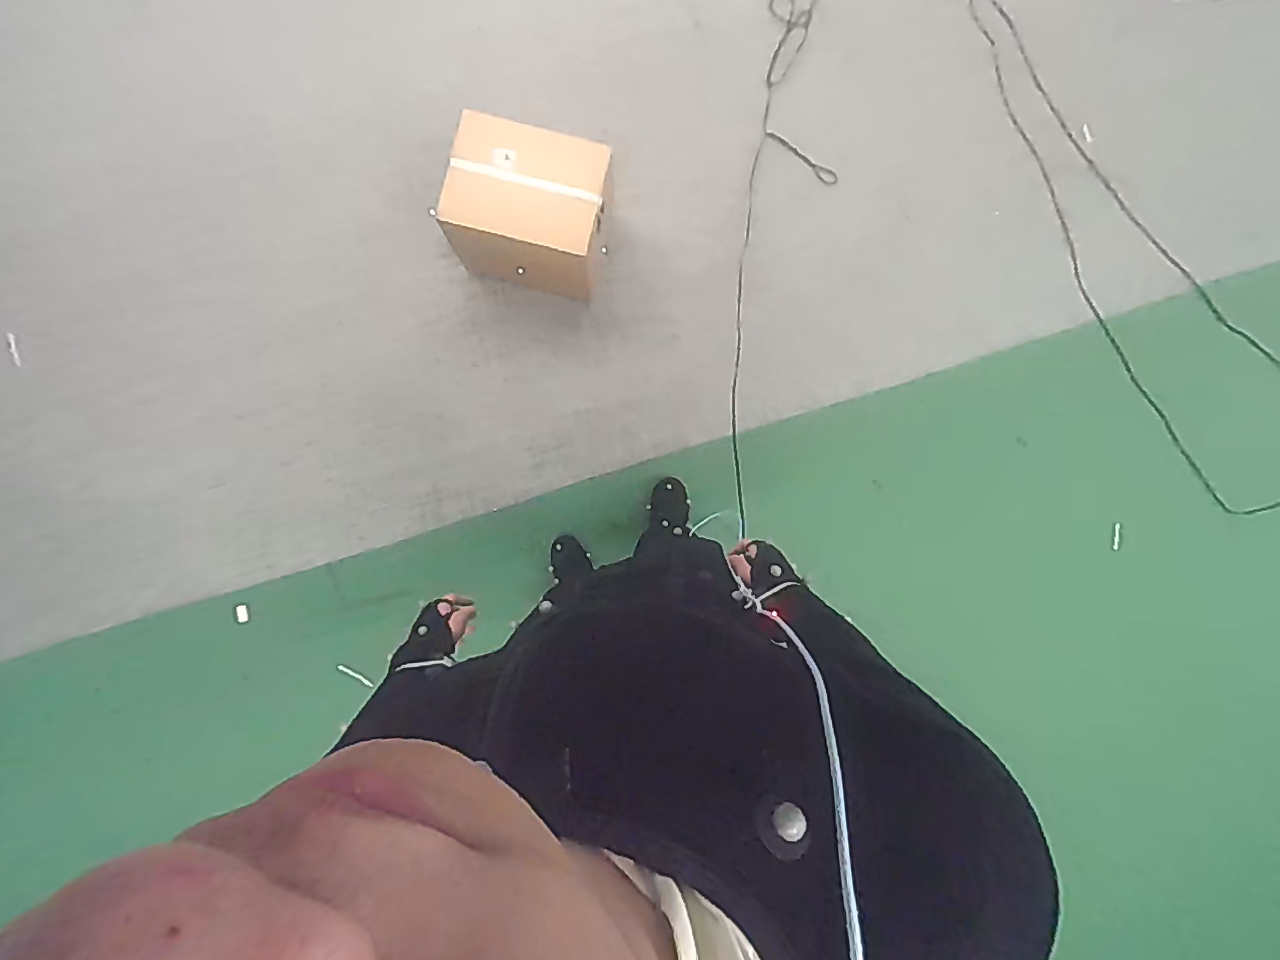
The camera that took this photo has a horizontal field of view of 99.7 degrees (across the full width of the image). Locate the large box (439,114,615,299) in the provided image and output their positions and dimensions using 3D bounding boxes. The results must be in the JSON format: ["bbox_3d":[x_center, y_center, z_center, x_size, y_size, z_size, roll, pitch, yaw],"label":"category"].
[{"bbox_3d":[-0.299,-0.763,1.560,0.408,0.320,0.320,14,85,-1],"label":"large box"}]
